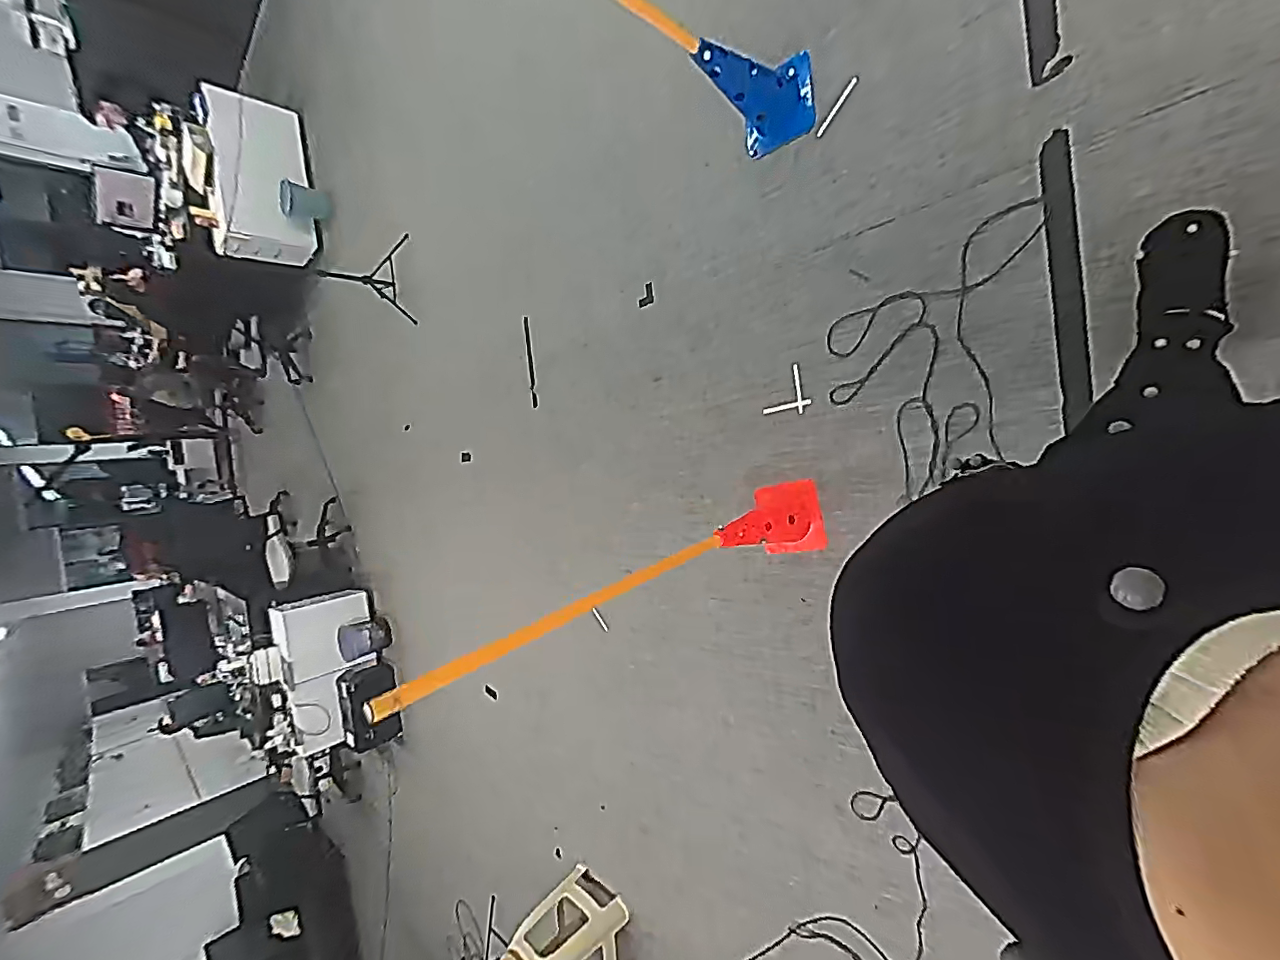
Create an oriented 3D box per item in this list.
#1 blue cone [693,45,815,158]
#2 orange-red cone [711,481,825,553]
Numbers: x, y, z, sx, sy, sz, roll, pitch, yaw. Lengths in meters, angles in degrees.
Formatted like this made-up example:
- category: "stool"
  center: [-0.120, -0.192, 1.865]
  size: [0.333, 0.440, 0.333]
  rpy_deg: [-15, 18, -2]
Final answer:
- category: "blue cone"
  center: [0.260, -0.978, 1.333]
  size: [0.193, 0.380, 0.192]
  rpy_deg: [-2, 95, 45]
- category: "orange-red cone"
  center: [0.308, 0.128, 1.430]
  size: [0.199, 0.360, 0.198]
  rpy_deg: [-13, 87, 44]
